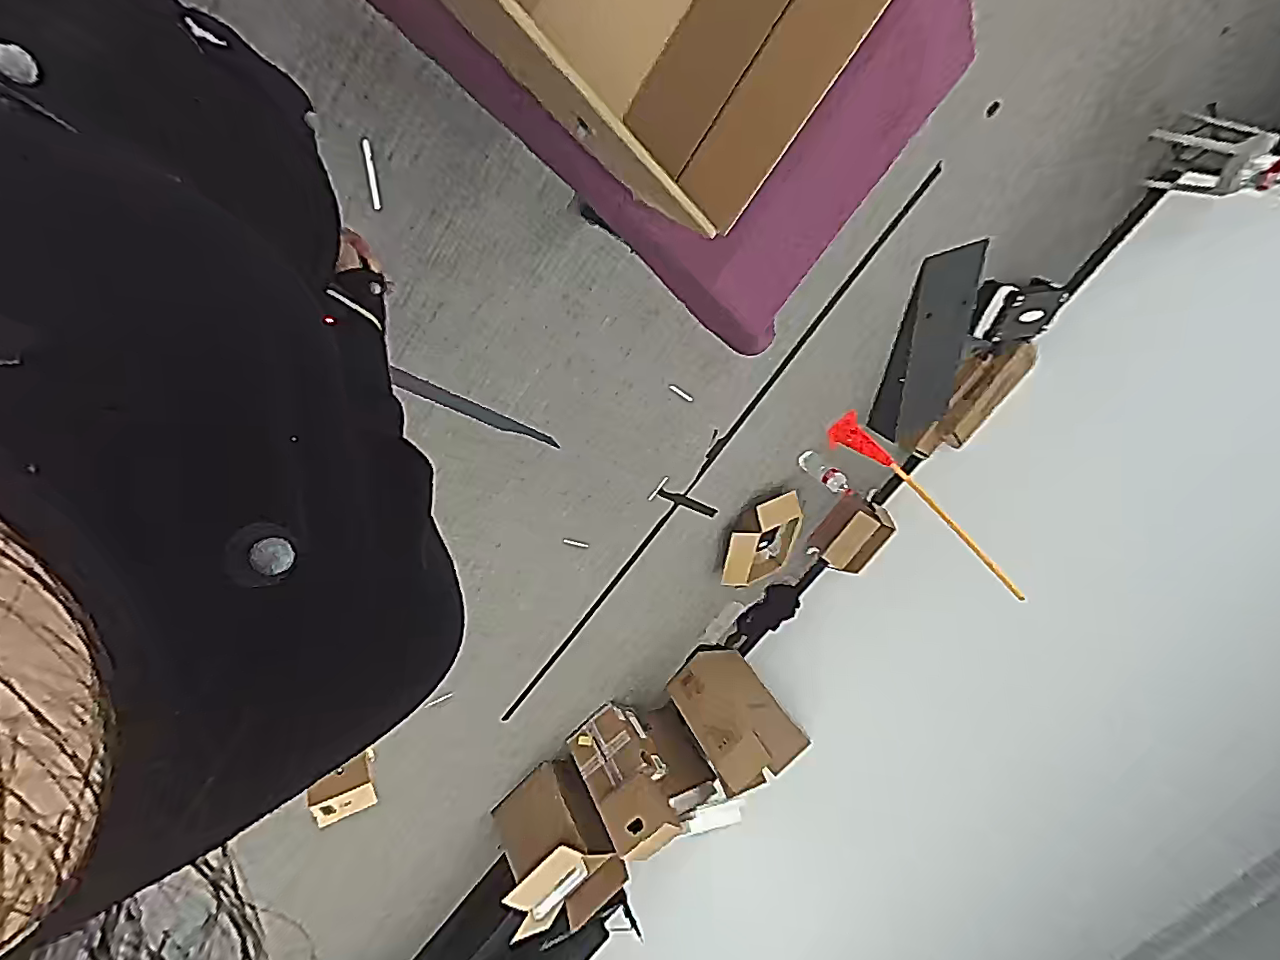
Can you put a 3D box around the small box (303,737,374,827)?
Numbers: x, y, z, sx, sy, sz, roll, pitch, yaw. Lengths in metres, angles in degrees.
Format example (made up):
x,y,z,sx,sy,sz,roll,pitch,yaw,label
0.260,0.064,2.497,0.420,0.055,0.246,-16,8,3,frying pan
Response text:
x,y,z,sx,sy,sz,roll,pitch,yaw,label
-0.992,0.985,1.773,0.179,0.176,0.168,-13,135,-29,small box
